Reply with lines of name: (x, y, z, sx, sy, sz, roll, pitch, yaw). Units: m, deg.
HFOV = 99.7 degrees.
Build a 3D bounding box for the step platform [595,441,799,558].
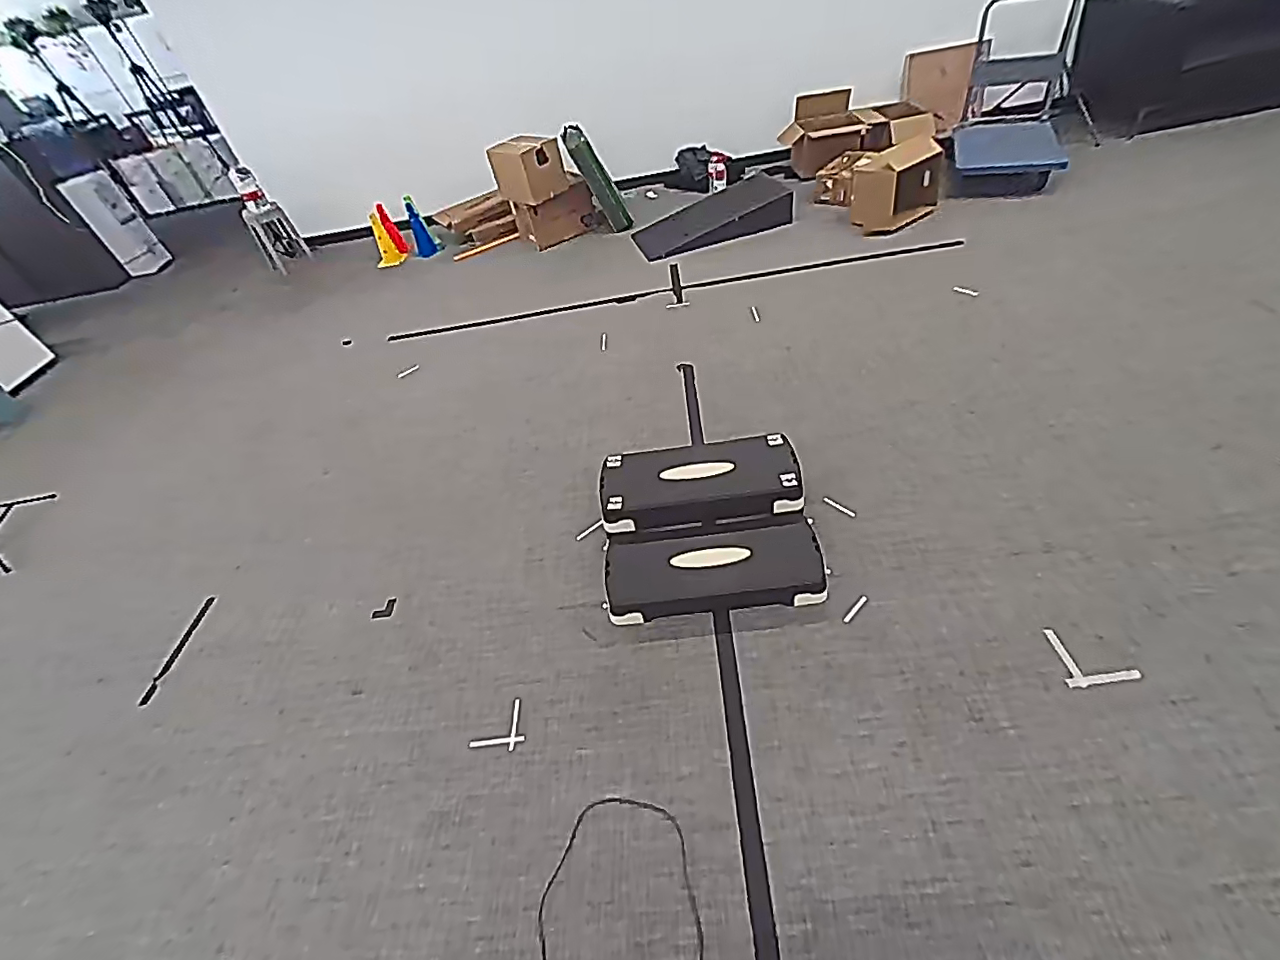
step platform: (0.186, 0.062, 1.850, 0.684, 0.204, 0.286, -8, 45, 4)
